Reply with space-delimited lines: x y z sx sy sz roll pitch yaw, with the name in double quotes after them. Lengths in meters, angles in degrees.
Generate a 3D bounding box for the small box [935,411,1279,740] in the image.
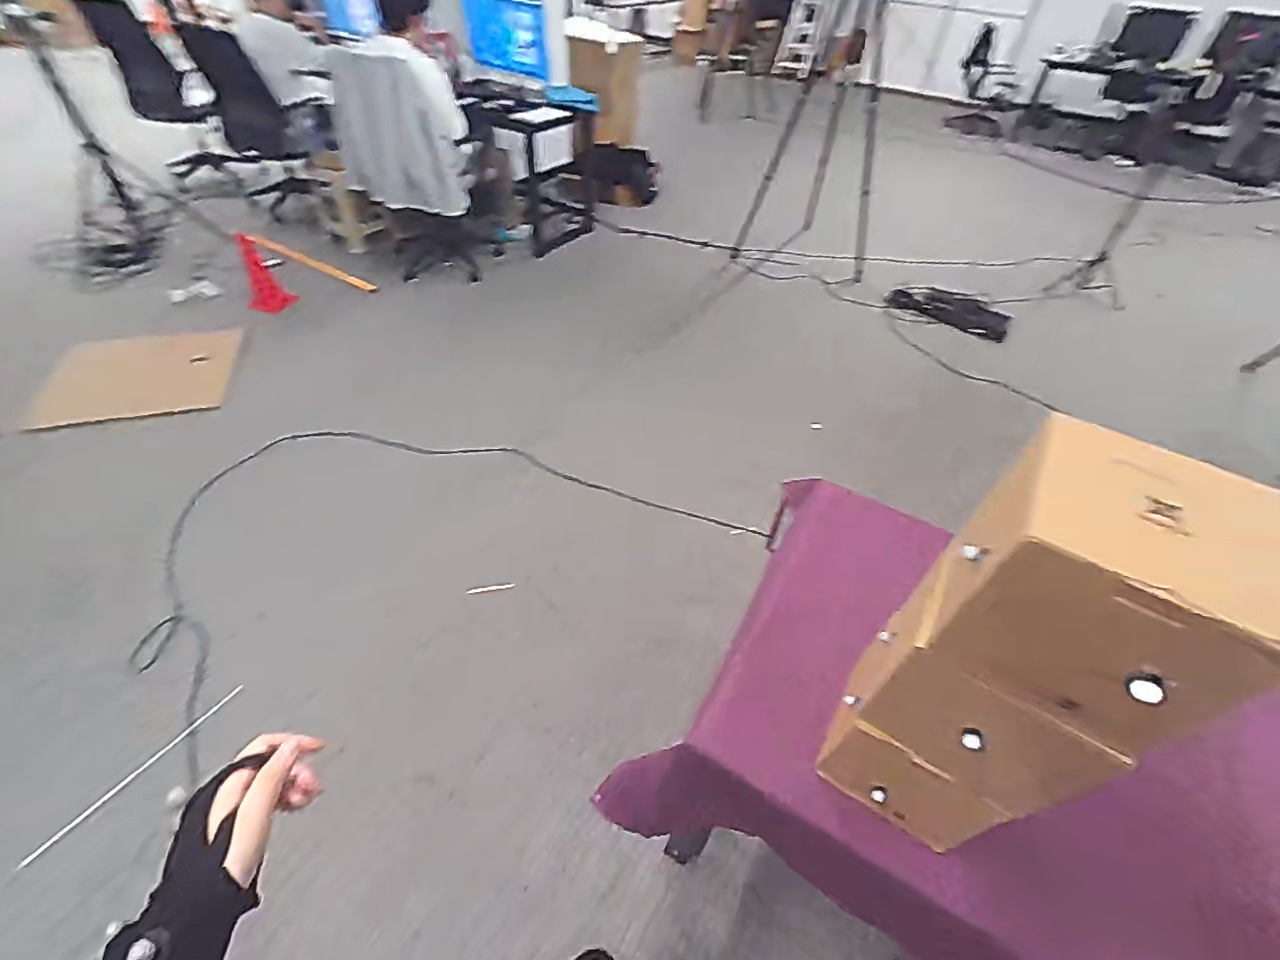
0.376 0.079 0.452 0.168 0.176 0.179 28 50 20 "small box"

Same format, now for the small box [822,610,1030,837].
0.353 0.307 0.686 0.168 0.176 0.179 27 50 20 "small box"
